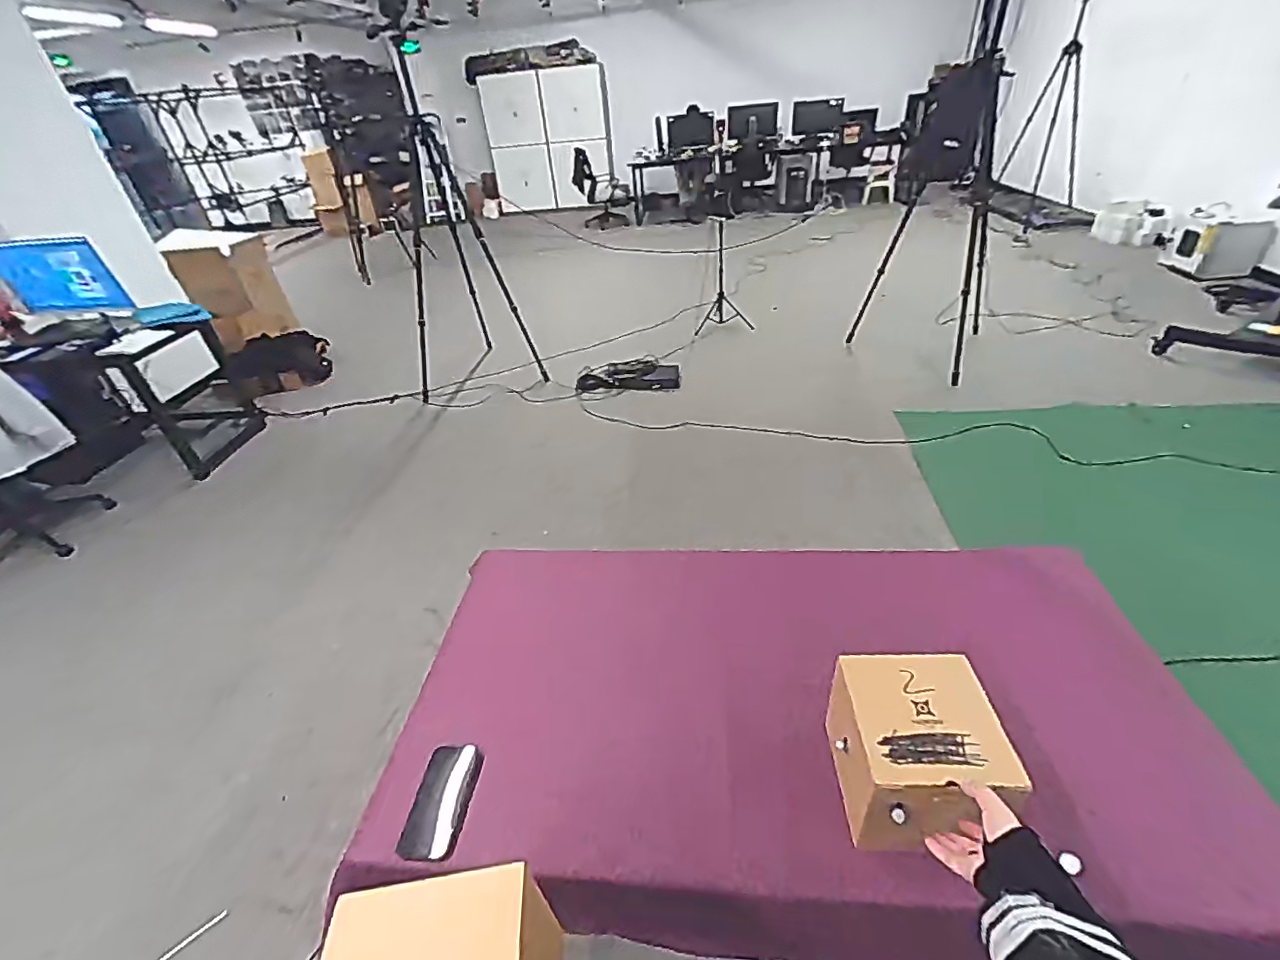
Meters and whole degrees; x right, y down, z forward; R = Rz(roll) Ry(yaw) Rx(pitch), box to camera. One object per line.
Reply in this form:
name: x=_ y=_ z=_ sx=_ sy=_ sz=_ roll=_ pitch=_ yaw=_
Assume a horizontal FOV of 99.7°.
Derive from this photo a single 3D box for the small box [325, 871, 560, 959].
small box: x=-0.160 y=0.466 z=0.442 sx=0.168 sy=0.176 sz=0.179 roll=-9 pitch=34 yaw=-2
